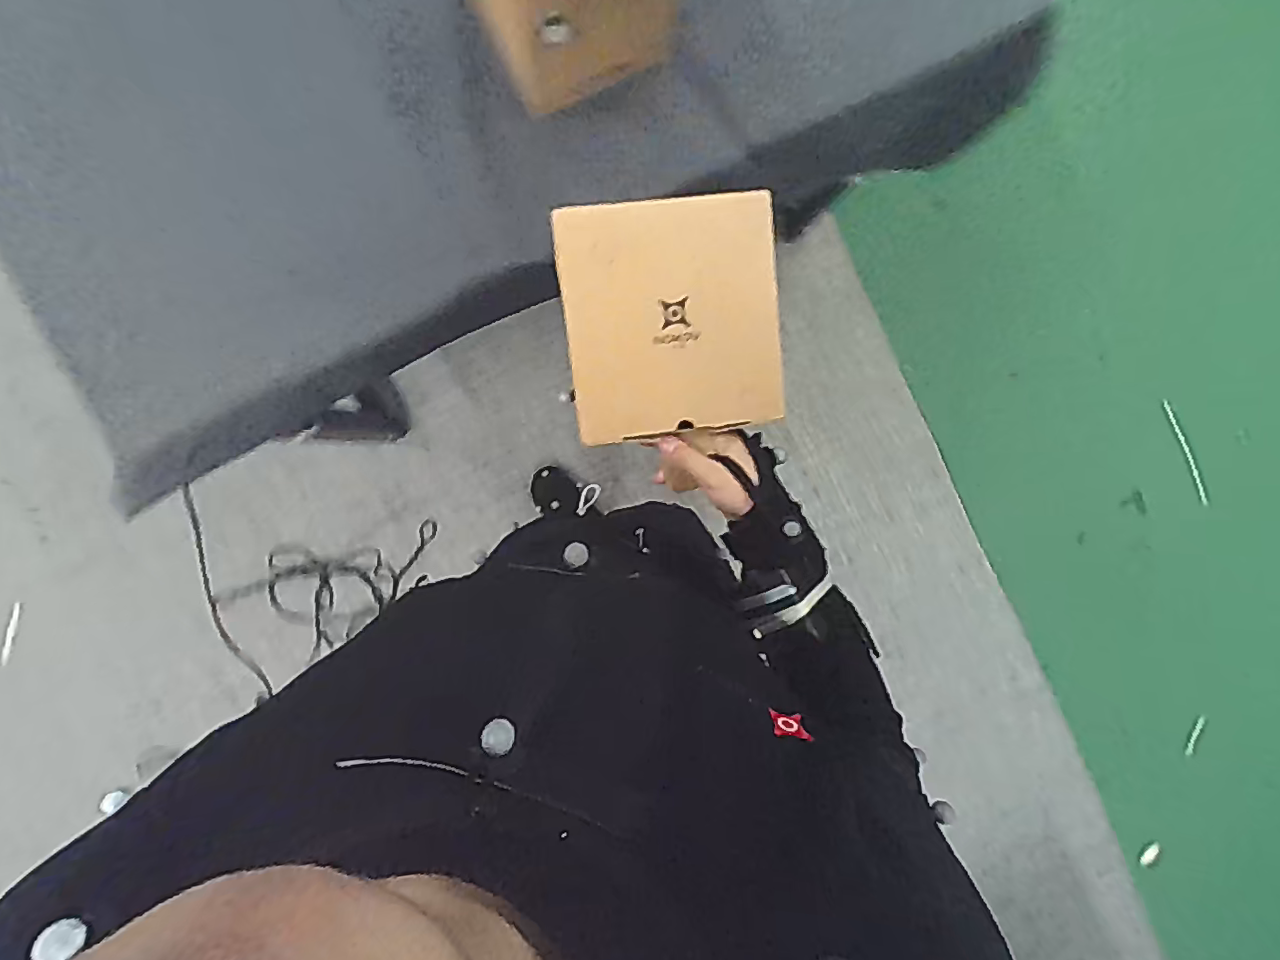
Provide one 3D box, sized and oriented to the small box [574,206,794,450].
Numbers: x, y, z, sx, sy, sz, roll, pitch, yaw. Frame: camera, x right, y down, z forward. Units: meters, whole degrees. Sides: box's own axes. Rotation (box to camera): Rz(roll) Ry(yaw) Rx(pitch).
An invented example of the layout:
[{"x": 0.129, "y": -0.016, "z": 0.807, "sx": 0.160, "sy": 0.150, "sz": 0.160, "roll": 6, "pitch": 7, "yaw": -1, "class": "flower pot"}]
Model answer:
[{"x": 0.028, "y": -0.127, "z": 0.495, "sx": 0.168, "sy": 0.176, "sz": 0.179, "roll": -6, "pitch": 100, "yaw": -5, "class": "small box"}]
